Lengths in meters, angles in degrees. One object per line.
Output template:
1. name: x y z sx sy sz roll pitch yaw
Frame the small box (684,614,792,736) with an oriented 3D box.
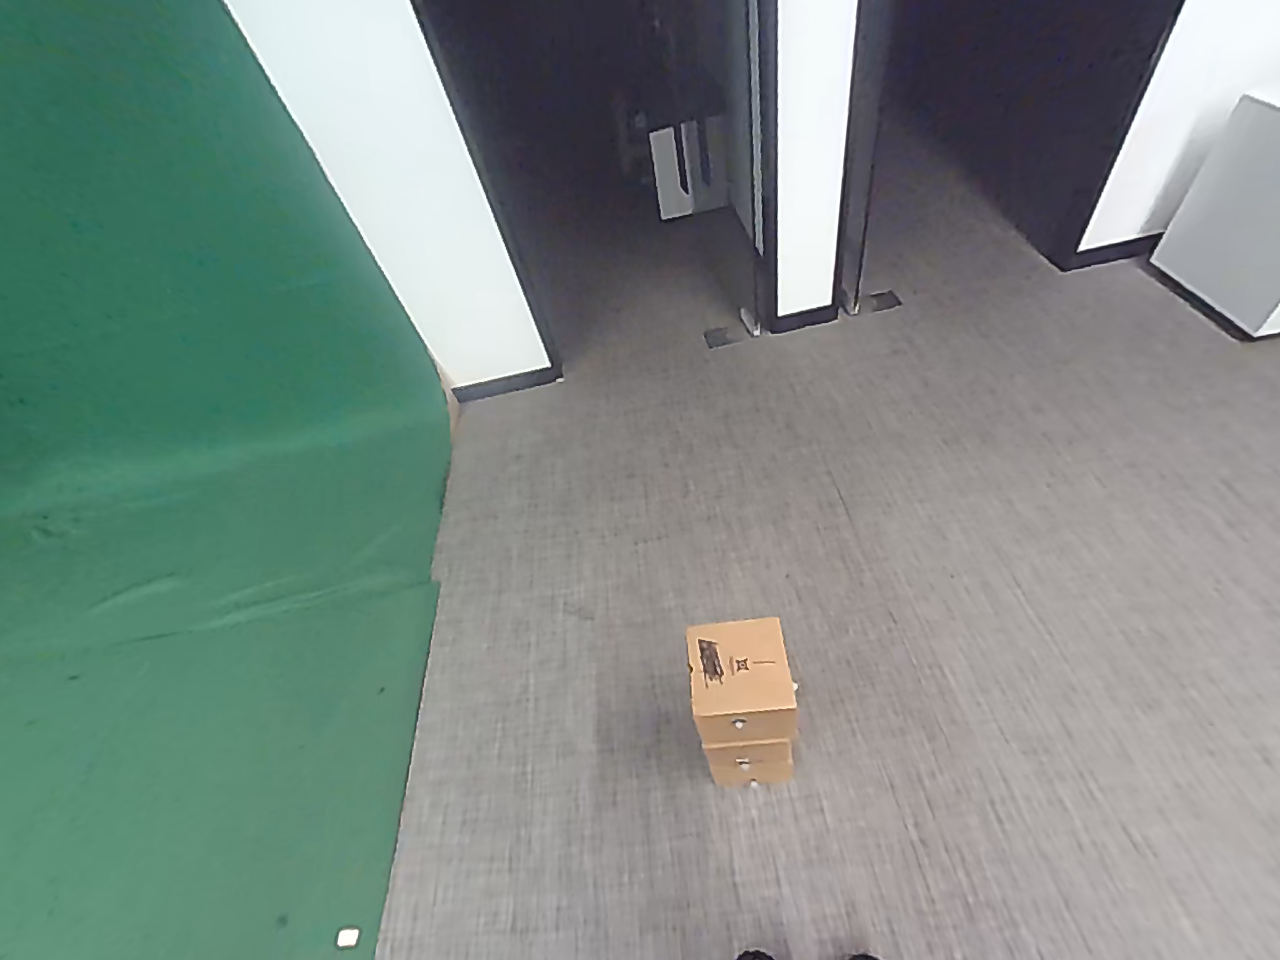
1. small box: 0.185 0.372 1.019 0.179 0.176 0.168 -8 49 8

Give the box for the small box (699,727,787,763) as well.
1. small box: 0.211 0.479 1.143 0.168 0.176 0.179 -10 49 8

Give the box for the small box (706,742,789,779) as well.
1. small box: 0.243 0.586 1.260 0.179 0.176 0.168 -7 49 8
